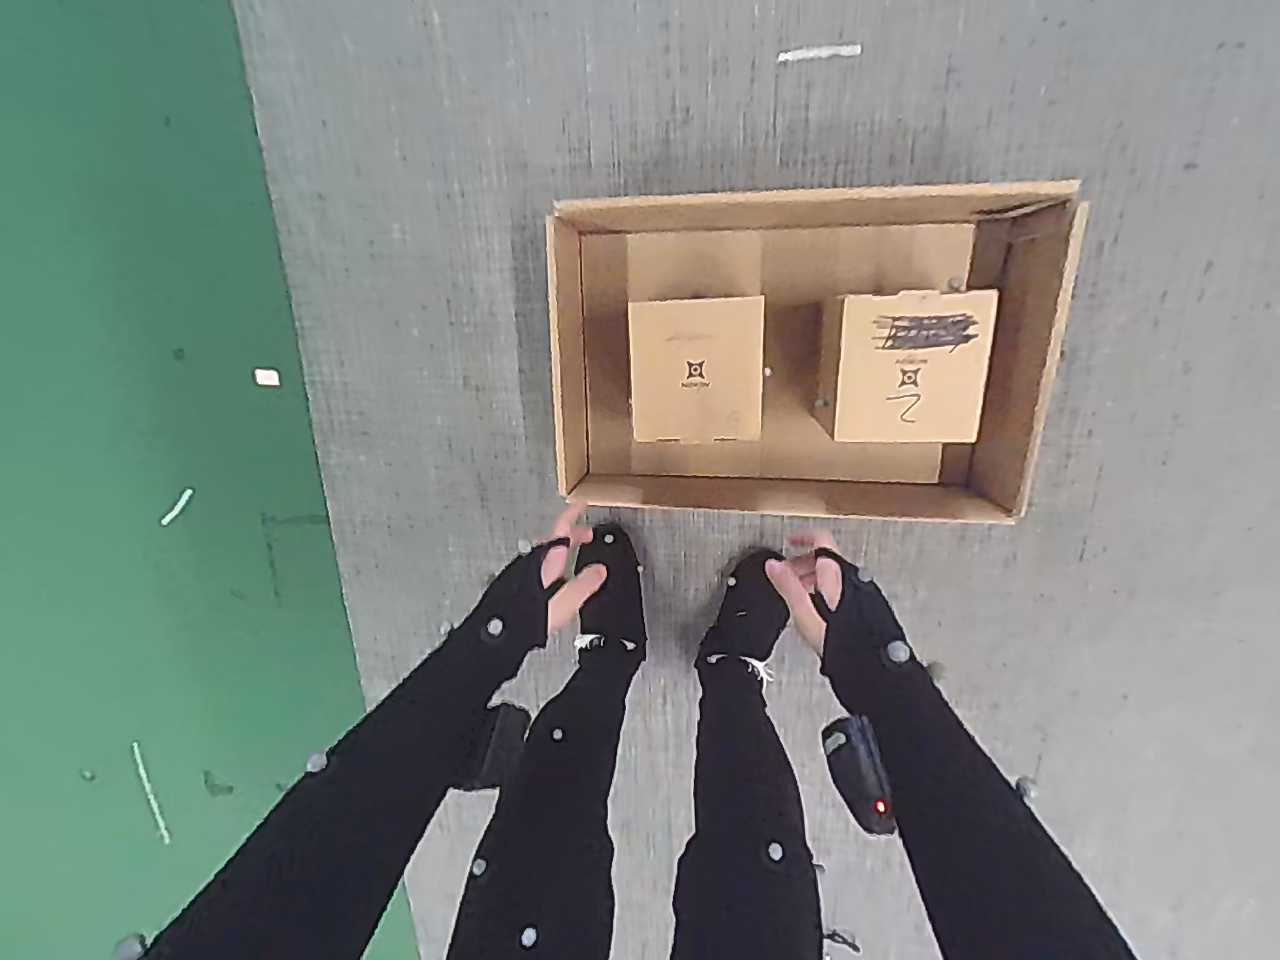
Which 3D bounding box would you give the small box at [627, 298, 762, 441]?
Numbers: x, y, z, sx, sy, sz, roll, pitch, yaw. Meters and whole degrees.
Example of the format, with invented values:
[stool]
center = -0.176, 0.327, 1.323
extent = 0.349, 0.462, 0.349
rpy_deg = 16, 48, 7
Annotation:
[small box]
center = 0.076, -0.156, 0.749
extent = 0.168, 0.176, 0.179
rpy_deg = 0, 105, 7
